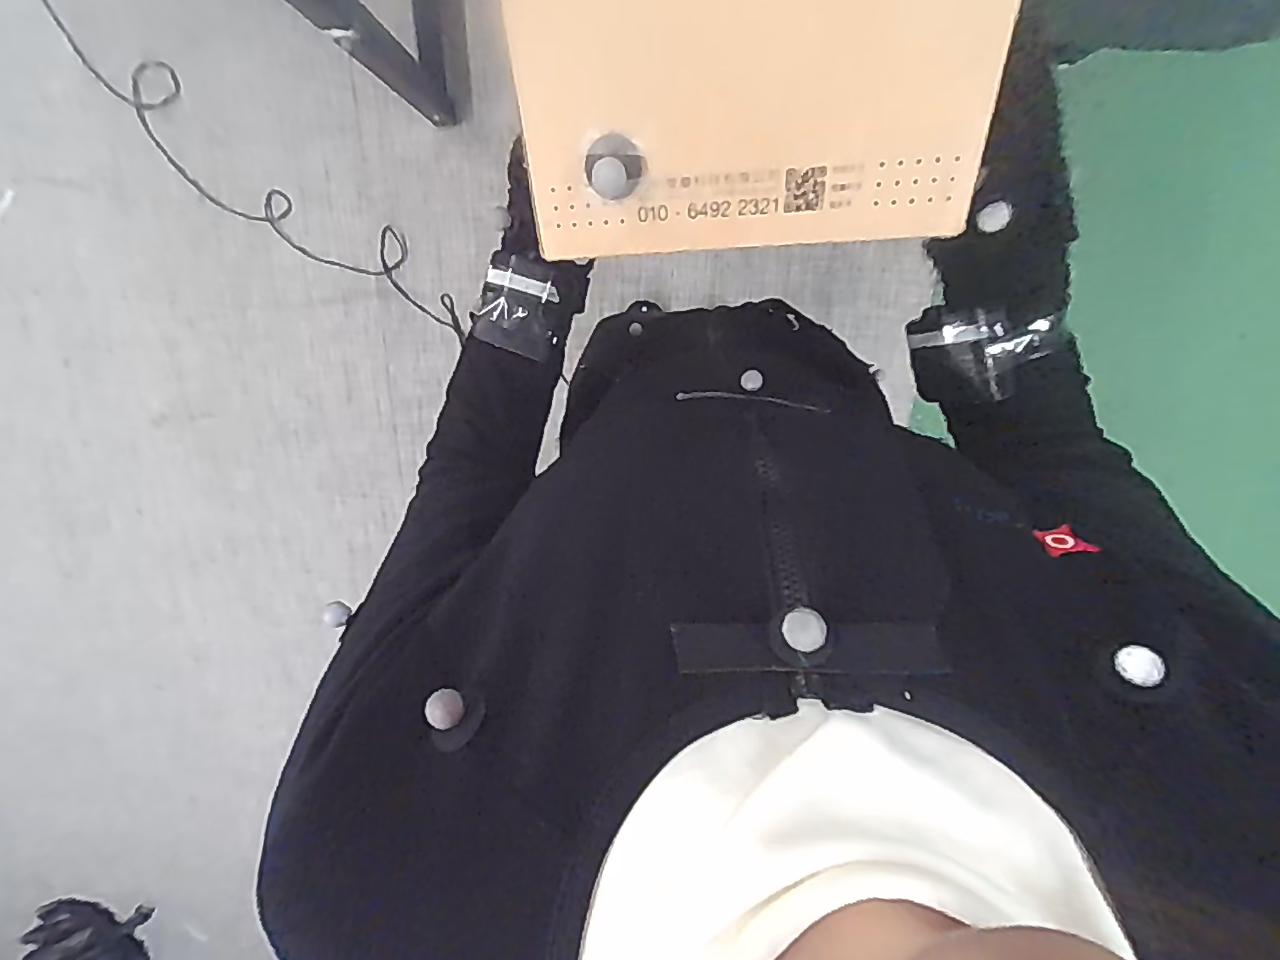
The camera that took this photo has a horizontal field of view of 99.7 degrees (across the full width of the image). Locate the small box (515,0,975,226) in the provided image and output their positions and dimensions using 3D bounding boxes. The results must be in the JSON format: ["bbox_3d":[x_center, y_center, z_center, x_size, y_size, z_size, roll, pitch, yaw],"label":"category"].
[{"bbox_3d":[0.042,-0.219,0.248,0.168,0.179,0.176,0,124,6],"label":"small box"}]
